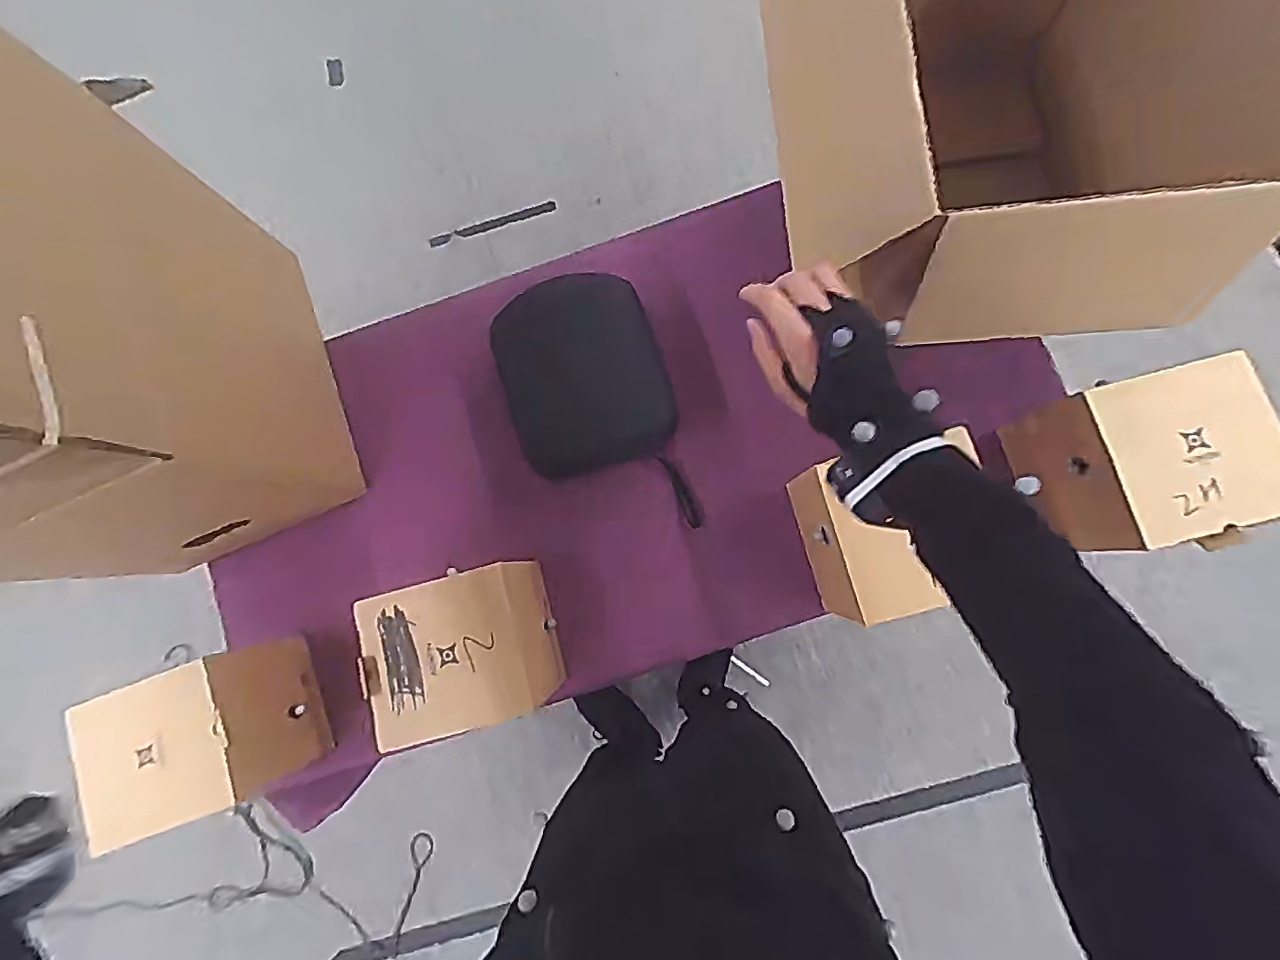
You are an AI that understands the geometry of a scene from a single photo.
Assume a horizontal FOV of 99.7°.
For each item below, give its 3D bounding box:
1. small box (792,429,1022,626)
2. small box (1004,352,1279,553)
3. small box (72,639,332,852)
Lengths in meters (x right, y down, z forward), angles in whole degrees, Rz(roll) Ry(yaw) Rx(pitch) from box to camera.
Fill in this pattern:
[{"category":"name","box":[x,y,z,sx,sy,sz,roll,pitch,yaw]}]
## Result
[{"category":"small box","box":[0.292,0.059,0.638,0.168,0.176,0.179,-15,82,3]},{"category":"small box","box":[0.566,-0.018,0.622,0.168,0.176,0.179,-15,81,4]},{"category":"small box","box":[-0.533,0.315,0.679,0.179,0.176,0.168,-21,81,1]}]
